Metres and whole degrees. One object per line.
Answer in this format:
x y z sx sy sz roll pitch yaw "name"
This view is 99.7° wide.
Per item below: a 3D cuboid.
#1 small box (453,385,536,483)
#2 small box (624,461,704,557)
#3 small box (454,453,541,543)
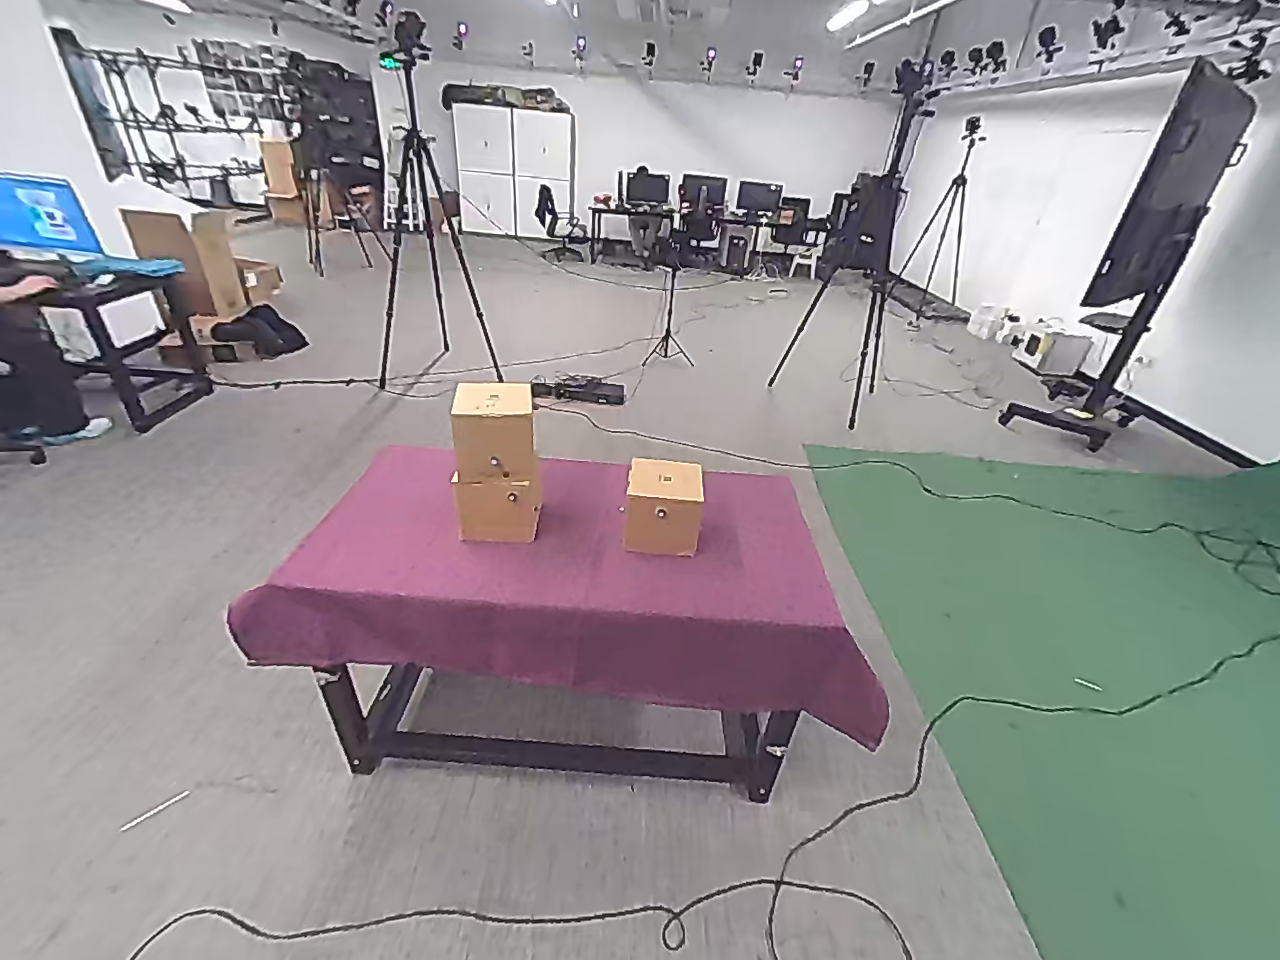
-0.326 -0.106 1.237 0.168 0.176 0.179 -2 32 -11 "small box"
0.057 0.070 1.317 0.179 0.176 0.168 6 32 1 "small box"
-0.339 0.040 1.314 0.179 0.176 0.168 3 31 -5 "small box"
